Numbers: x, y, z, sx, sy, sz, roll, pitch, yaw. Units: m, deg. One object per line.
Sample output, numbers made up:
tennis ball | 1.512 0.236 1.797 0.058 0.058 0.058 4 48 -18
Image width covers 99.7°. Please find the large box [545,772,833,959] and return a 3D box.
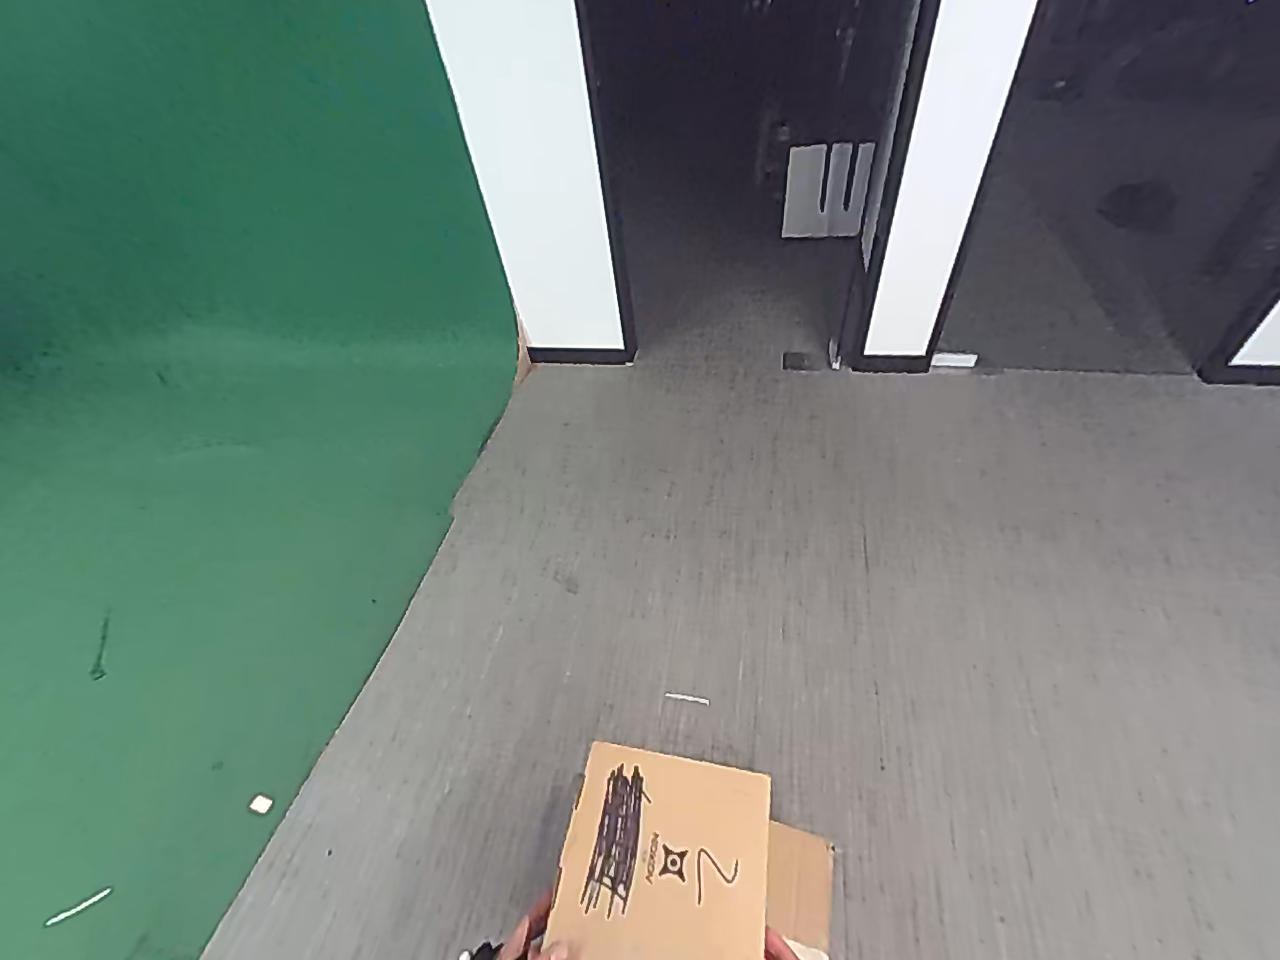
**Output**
large box | 0.090 0.764 0.932 0.408 0.320 0.320 10 49 15

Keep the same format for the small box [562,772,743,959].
small box | 0.025 0.486 0.645 0.168 0.176 0.179 9 47 13
